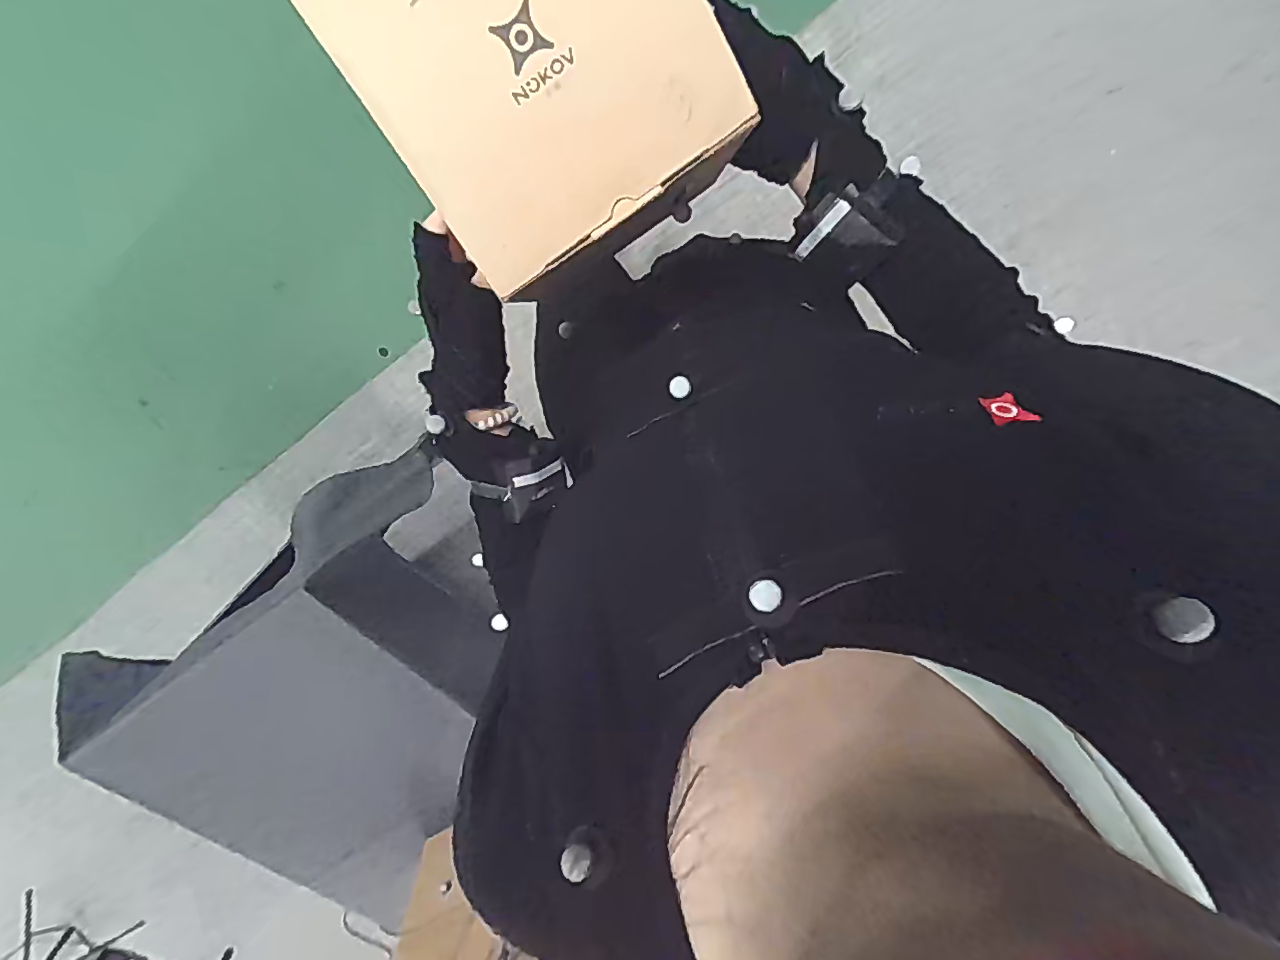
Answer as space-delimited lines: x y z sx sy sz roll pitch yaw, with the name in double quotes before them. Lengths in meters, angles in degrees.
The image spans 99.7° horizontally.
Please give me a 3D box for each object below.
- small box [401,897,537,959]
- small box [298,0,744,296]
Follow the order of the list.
"small box" -0.287 0.831 0.880 0.179 0.176 0.168 -34 113 12
"small box" -0.058 -0.239 0.342 0.168 0.176 0.179 -31 107 9
